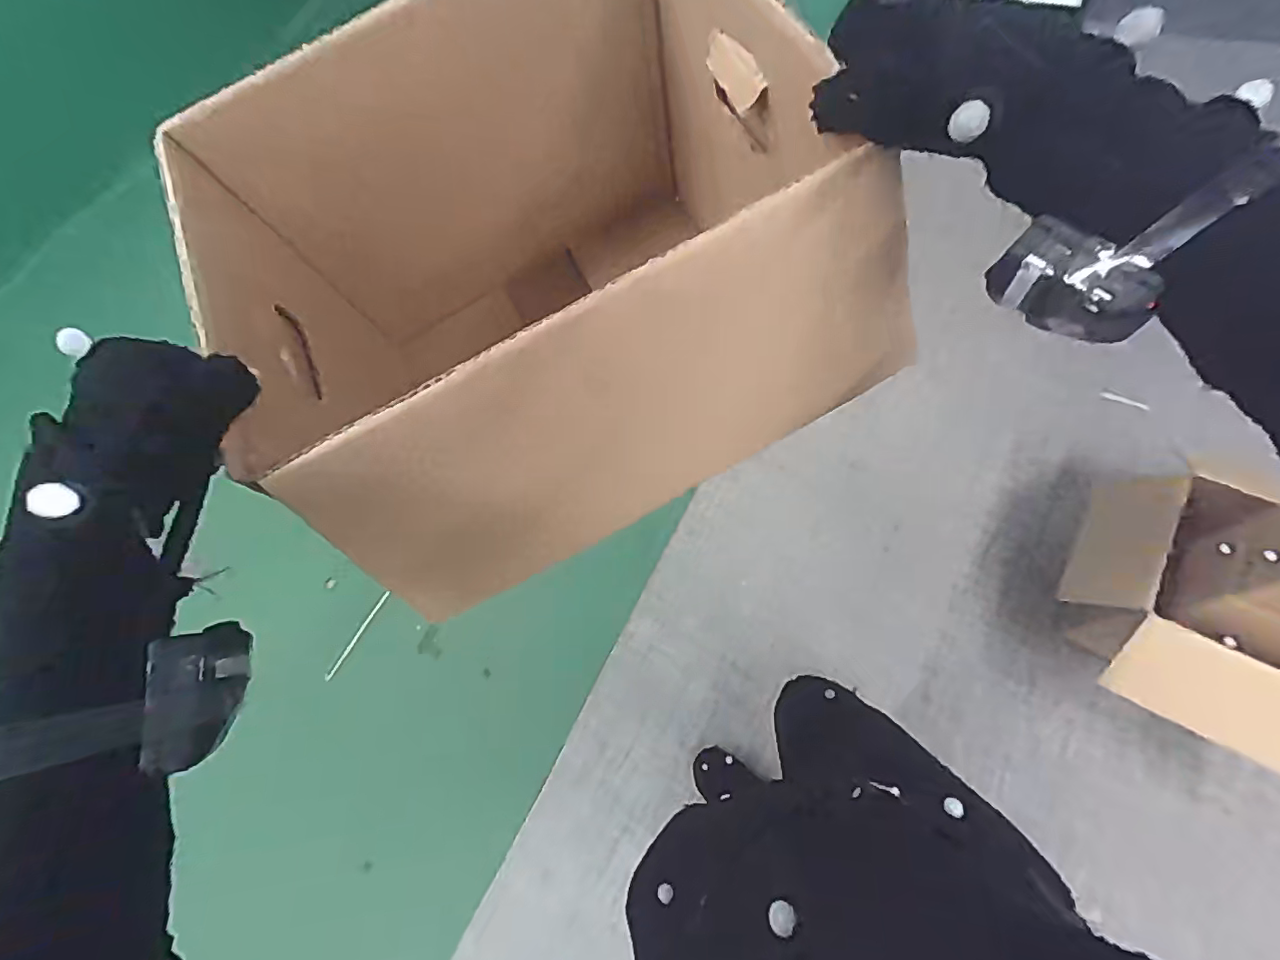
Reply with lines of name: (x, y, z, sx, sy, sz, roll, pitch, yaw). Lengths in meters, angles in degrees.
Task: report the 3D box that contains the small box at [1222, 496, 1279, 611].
small box: (1.074, 0.123, 0.831, 0.179, 0.176, 0.168, 26, 75, 21)
